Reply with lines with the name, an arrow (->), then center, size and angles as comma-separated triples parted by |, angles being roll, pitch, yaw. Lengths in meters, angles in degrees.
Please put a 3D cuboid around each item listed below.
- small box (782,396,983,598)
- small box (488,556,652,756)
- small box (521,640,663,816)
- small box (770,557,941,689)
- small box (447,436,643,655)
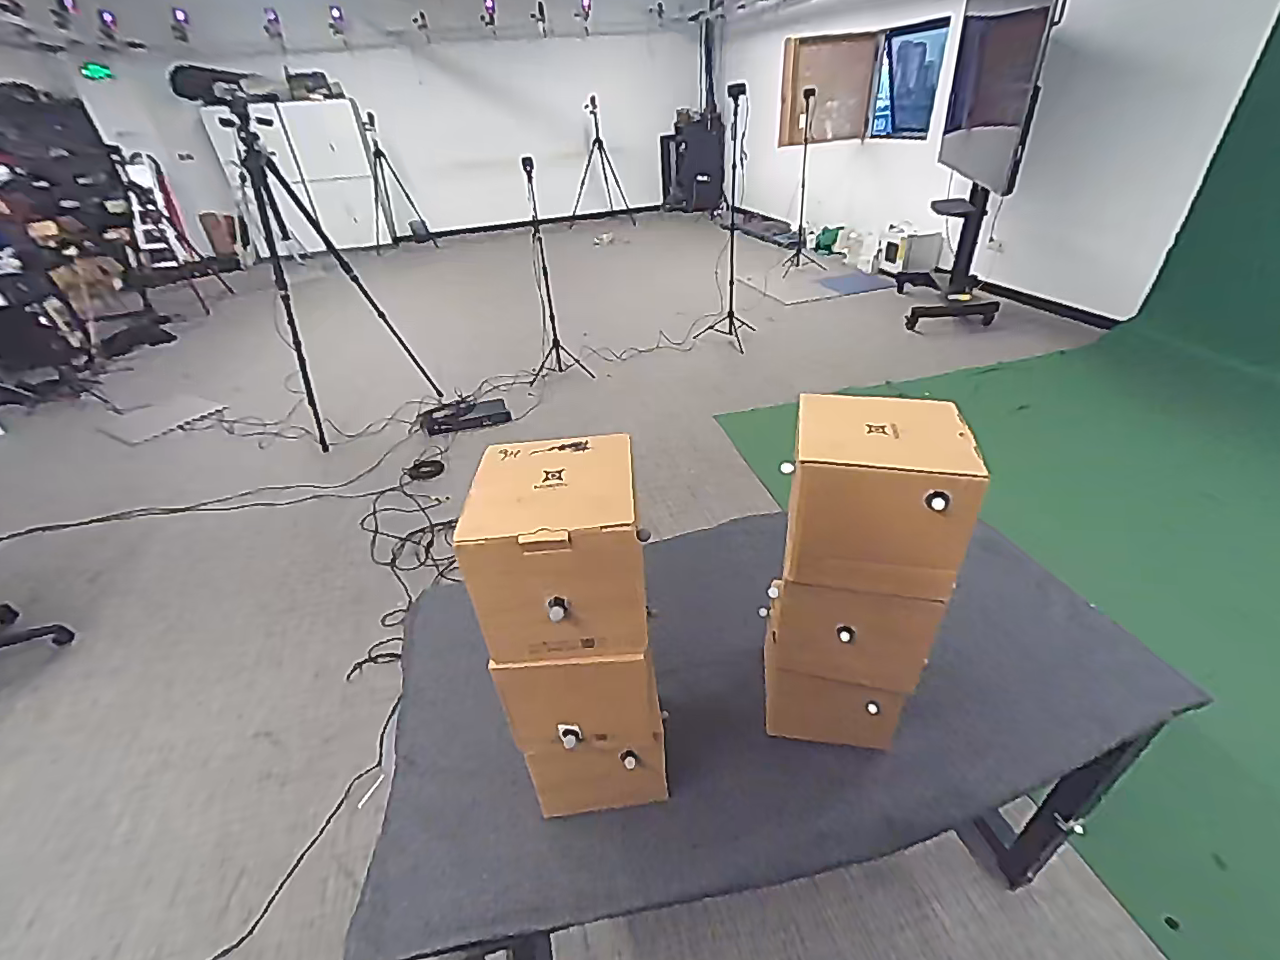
small box -> 0.261, 0.016, 0.628 | 0.179, 0.176, 0.168 | 6, 34, 13
small box -> -0.074, 0.212, 0.674 | 0.168, 0.176, 0.179 | -5, 35, 2
small box -> -0.062, 0.344, 0.768 | 0.179, 0.176, 0.168 | -7, 33, -3
small box -> 0.274, 0.150, 0.719 | 0.179, 0.176, 0.168 | 6, 35, 16
small box -> -0.087, 0.073, 0.588 | 0.168, 0.176, 0.179 | -5, 34, 1
